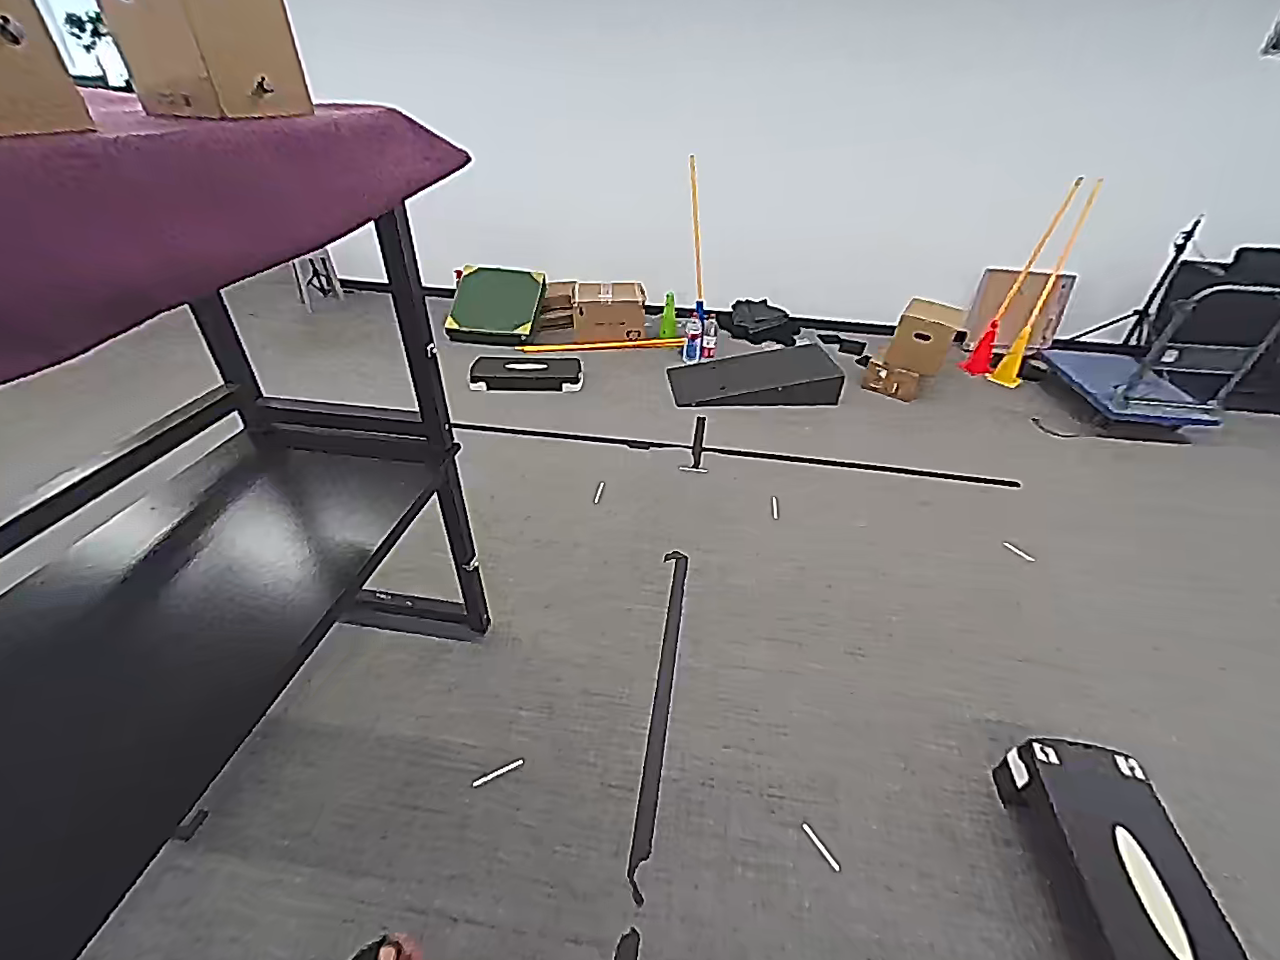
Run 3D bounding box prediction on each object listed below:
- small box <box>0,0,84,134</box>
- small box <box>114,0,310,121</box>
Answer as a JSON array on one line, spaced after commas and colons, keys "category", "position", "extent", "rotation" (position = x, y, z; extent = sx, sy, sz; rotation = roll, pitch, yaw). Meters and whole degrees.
[{"category": "small box", "position": [-0.717, -0.438, 0.528], "extent": [0.168, 0.176, 0.179], "rotation": [6, 36, 7]}, {"category": "small box", "position": [-0.647, -0.662, 0.831], "extent": [0.168, 0.176, 0.179], "rotation": [13, 38, 15]}]
